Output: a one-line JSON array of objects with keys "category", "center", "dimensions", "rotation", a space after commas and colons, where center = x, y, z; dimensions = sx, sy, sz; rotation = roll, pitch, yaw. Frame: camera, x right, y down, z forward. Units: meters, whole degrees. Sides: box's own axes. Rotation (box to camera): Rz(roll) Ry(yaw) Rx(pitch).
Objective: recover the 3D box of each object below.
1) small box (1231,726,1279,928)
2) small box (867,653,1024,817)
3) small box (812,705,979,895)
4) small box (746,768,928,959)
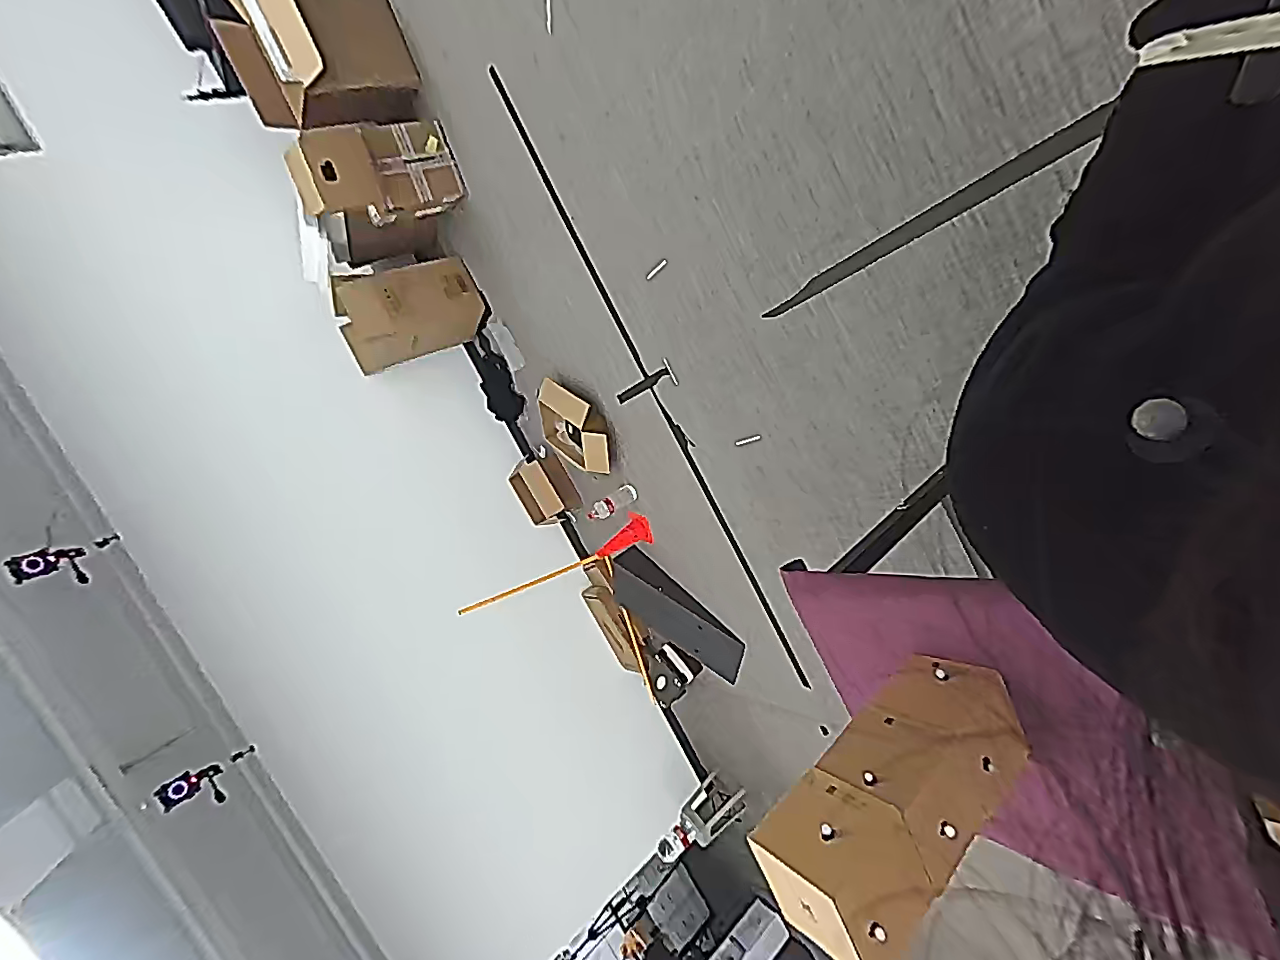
[{"category": "small box", "center": [0.776, 0.384, 0.561], "dimensions": [0.179, 0.176, 0.168], "rotation": [-9, 109, 60]}, {"category": "small box", "center": [0.554, 0.448, 0.978], "dimensions": [0.168, 0.176, 0.179], "rotation": [-11, 107, 60]}, {"category": "small box", "center": [0.427, 0.517, 0.900], "dimensions": [0.168, 0.176, 0.179], "rotation": [-7, 112, 59]}, {"category": "small box", "center": [0.300, 0.584, 0.822], "dimensions": [0.168, 0.176, 0.179], "rotation": [-7, 111, 59]}]
